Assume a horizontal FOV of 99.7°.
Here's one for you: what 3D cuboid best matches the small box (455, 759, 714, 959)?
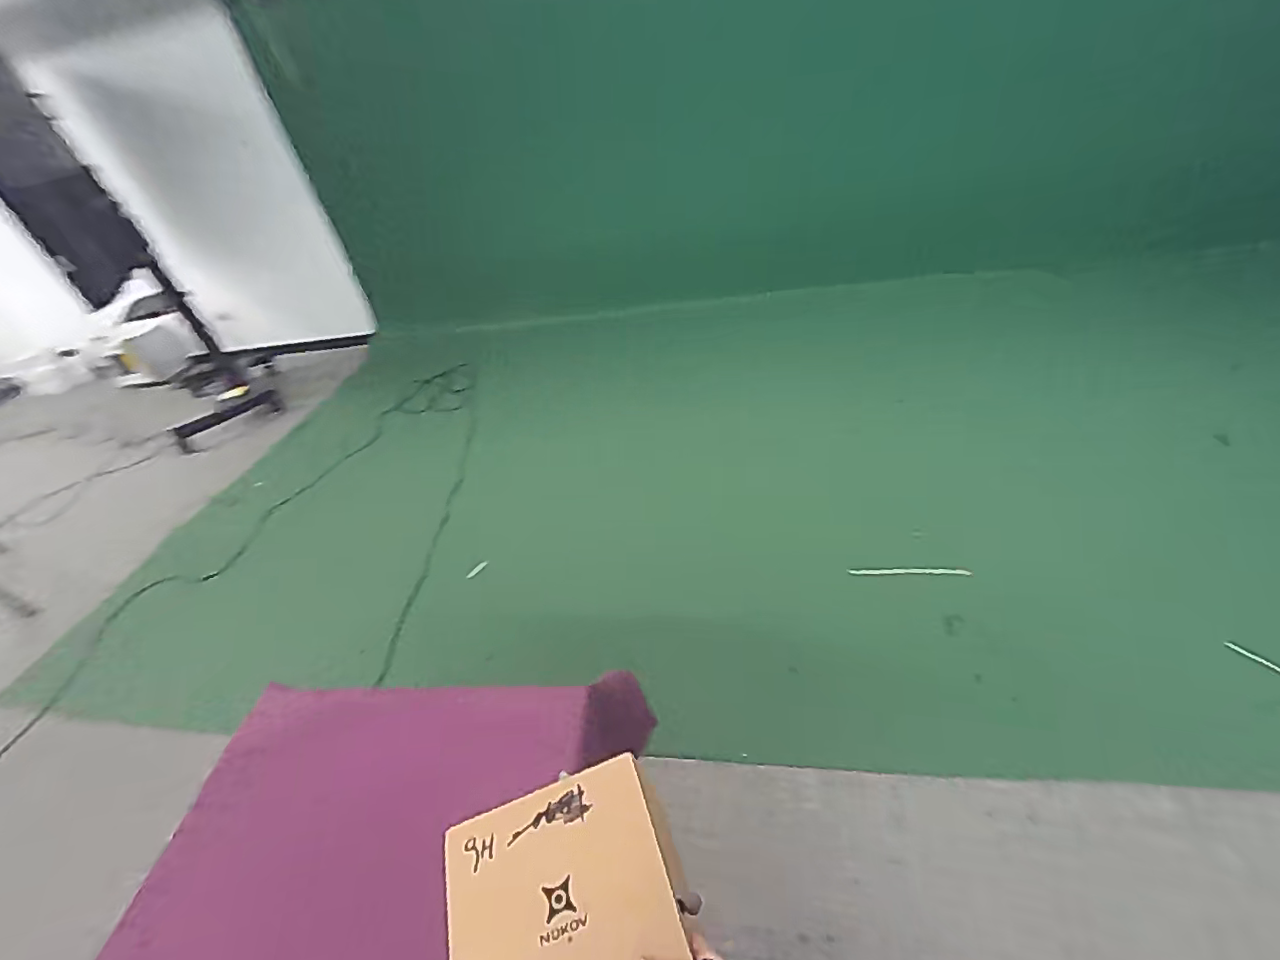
[{"bbox_3d":[-0.037,0.370,0.447,0.168,0.176,0.179,-19,45,-5],"label":"small box"}]
